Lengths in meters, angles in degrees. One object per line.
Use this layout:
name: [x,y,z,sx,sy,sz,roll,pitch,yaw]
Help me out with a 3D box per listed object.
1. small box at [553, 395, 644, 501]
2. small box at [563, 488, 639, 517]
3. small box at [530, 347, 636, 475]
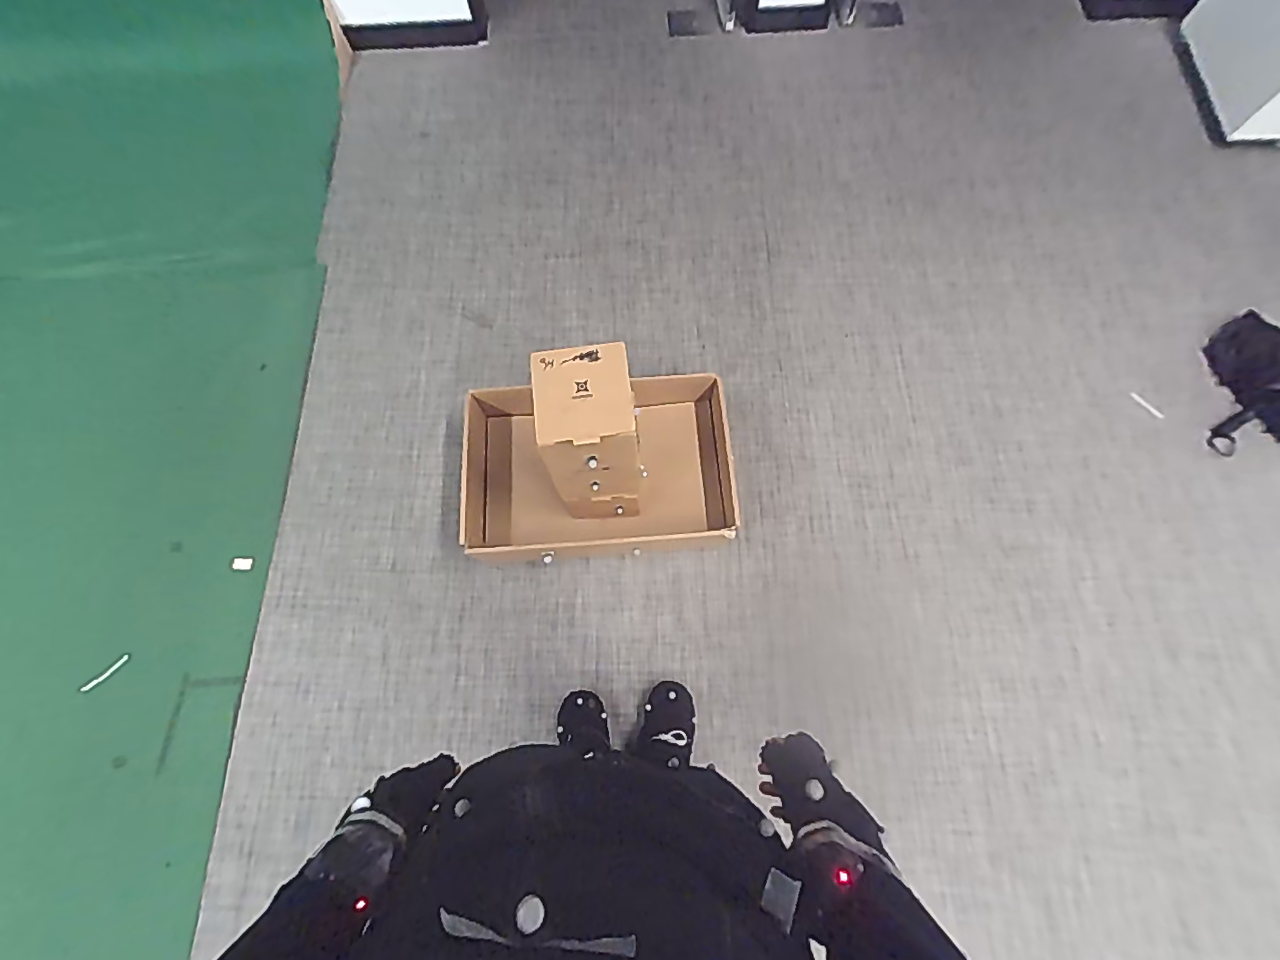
small box: [-0.090,-0.062,1.137,0.179,0.176,0.168,-7,72,-2]
small box: [-0.089,-0.012,1.293,0.168,0.176,0.179,-3,70,0]
small box: [-0.098,-0.115,0.982,0.168,0.176,0.179,-7,72,-1]
